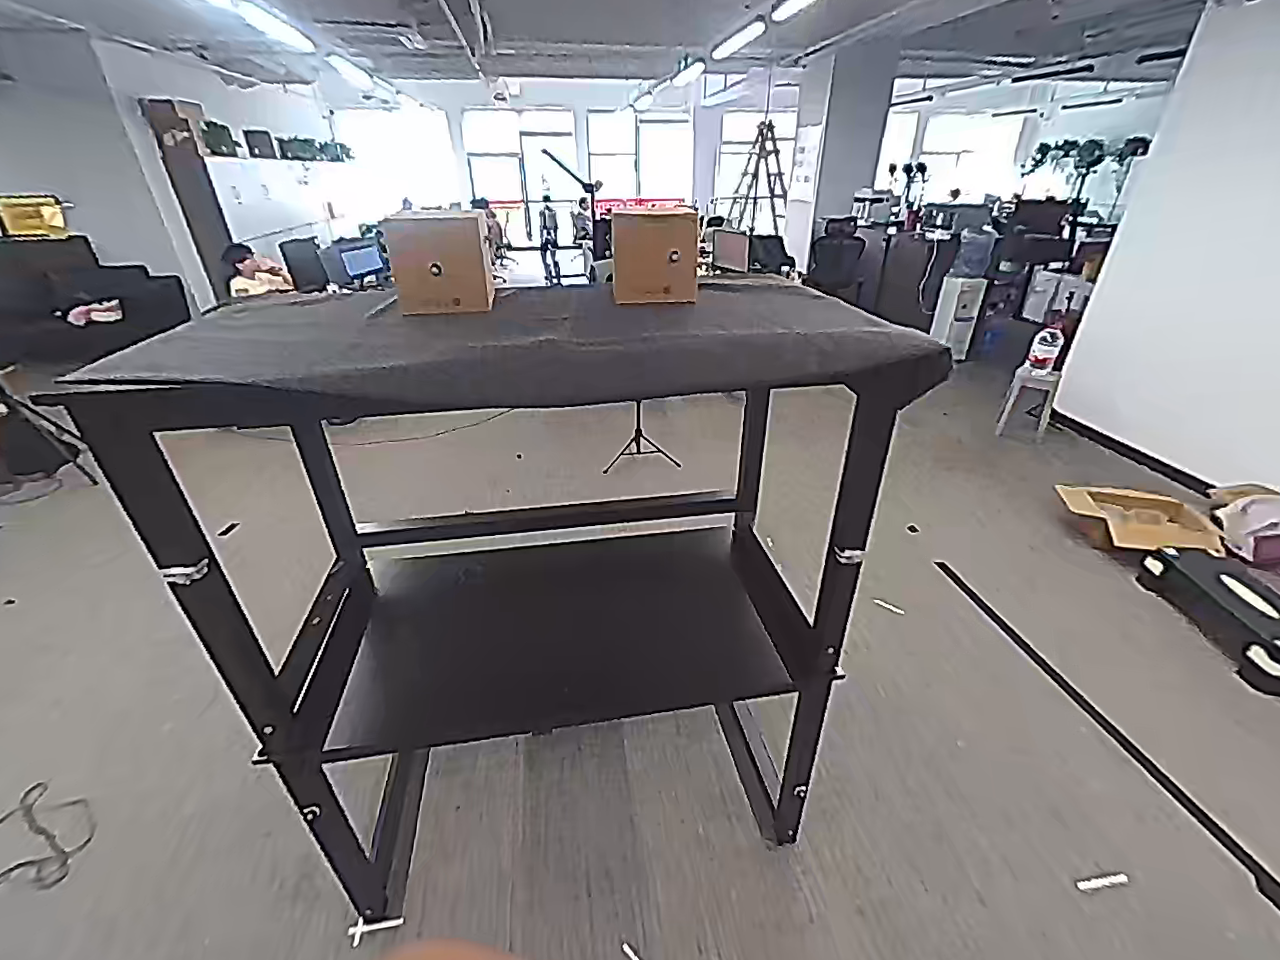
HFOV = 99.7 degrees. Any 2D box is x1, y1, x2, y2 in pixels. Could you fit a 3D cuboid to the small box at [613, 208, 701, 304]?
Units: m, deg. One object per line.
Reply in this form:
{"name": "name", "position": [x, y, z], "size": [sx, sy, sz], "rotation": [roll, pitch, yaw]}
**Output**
{"name": "small box", "position": [0.030, -0.464, 1.120], "size": [0.168, 0.176, 0.179], "rotation": [-1, 29, -4]}

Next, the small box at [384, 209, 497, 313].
{"name": "small box", "position": [-0.376, -0.426, 1.053], "size": [0.168, 0.176, 0.179], "rotation": [-5, 30, -9]}
